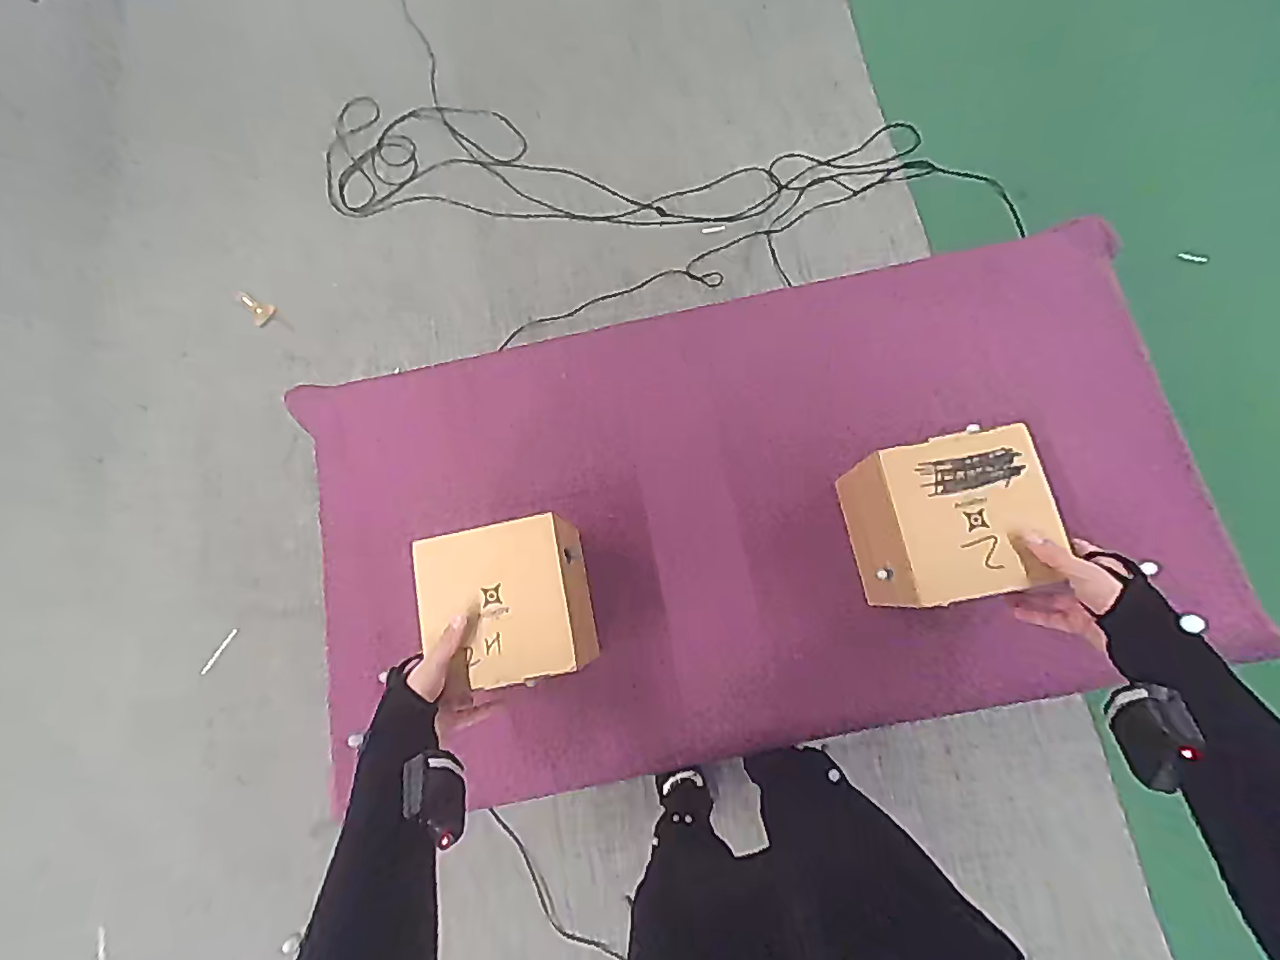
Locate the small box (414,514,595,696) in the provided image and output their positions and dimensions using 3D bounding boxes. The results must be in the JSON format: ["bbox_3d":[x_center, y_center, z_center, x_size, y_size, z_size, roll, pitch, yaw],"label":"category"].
[{"bbox_3d":[-0.159,0.154,0.676,0.168,0.176,0.179,-12,77,2],"label":"small box"}]
